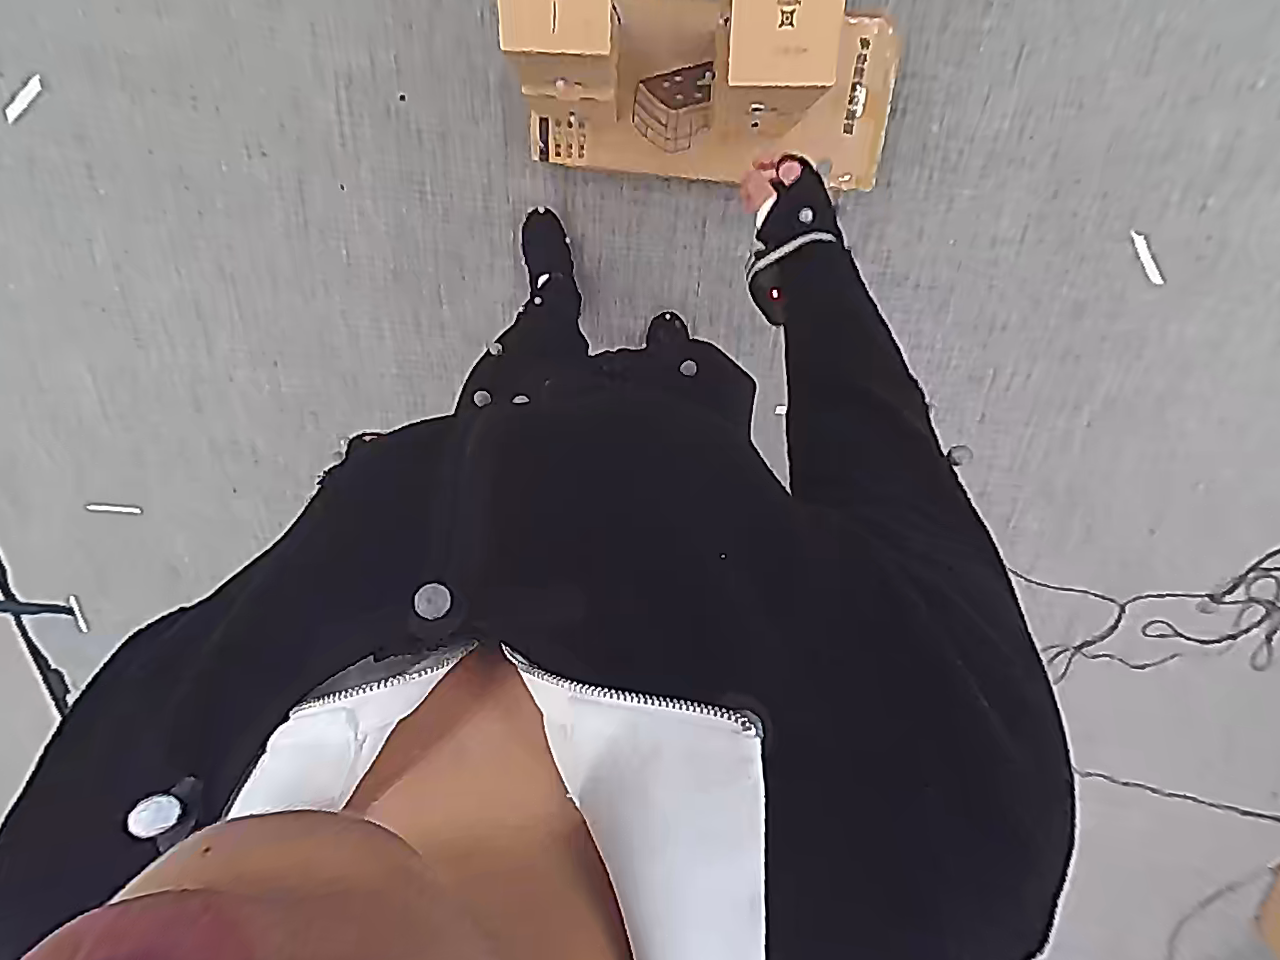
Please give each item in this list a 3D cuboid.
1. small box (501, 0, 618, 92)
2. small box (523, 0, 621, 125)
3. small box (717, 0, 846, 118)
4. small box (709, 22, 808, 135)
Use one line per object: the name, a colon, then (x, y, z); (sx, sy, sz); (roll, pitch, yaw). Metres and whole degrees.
small box: (-0.120, -0.740, 0.847); (0.168, 0.176, 0.179); (2, 113, -2)
small box: (-0.122, -0.788, 1.004); (0.168, 0.176, 0.179); (3, 112, -2)
small box: (0.218, -0.706, 0.868); (0.168, 0.176, 0.179); (0, 113, 1)
small box: (0.226, -0.766, 1.020); (0.168, 0.176, 0.179); (1, 113, -1)
